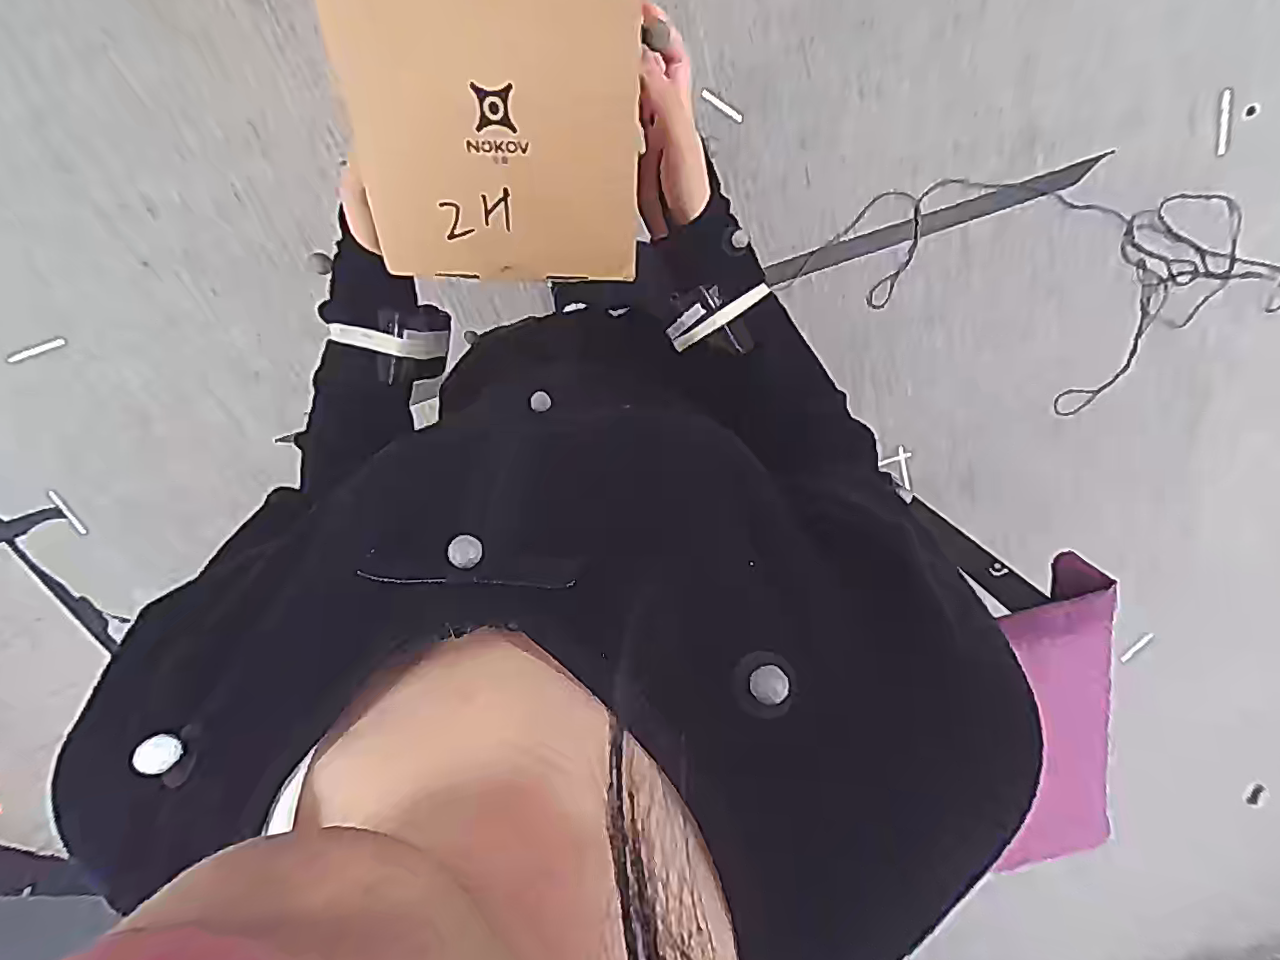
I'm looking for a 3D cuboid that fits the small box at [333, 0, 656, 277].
[{"bbox_3d":[-0.080,-0.257,0.367,0.168,0.176,0.179,2,129,-3],"label":"small box"}]
